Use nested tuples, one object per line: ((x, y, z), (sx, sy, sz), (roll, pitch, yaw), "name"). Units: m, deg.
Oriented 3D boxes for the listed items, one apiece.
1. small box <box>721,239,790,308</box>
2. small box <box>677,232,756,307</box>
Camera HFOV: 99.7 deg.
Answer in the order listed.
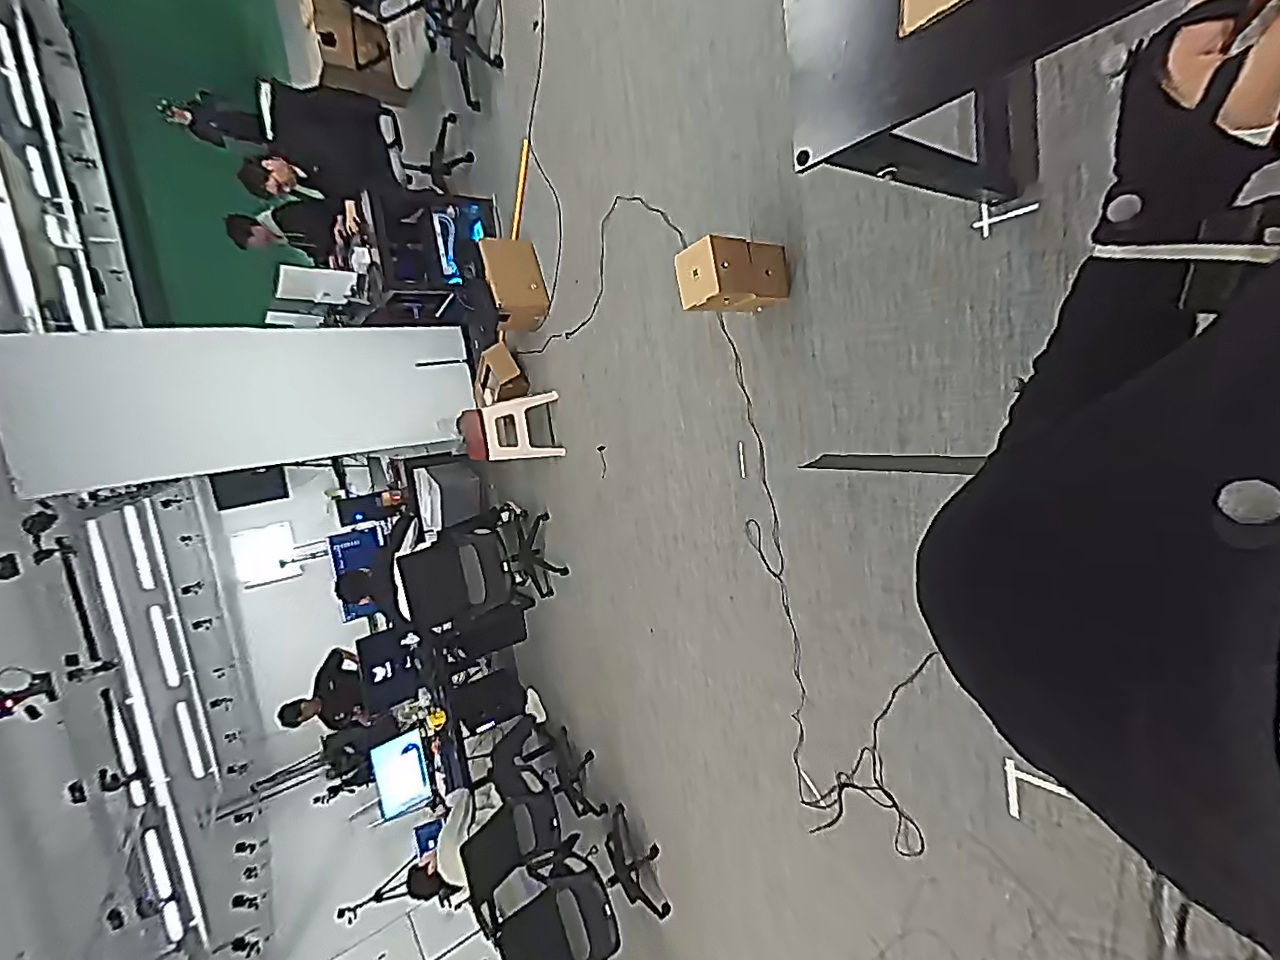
((0.374, -0.675, 1.785), (0.168, 0.176, 0.179), (-1, 100, 55), "small box")
((0.243, -0.652, 1.693), (0.168, 0.176, 0.179), (-7, 93, 54), "small box")
